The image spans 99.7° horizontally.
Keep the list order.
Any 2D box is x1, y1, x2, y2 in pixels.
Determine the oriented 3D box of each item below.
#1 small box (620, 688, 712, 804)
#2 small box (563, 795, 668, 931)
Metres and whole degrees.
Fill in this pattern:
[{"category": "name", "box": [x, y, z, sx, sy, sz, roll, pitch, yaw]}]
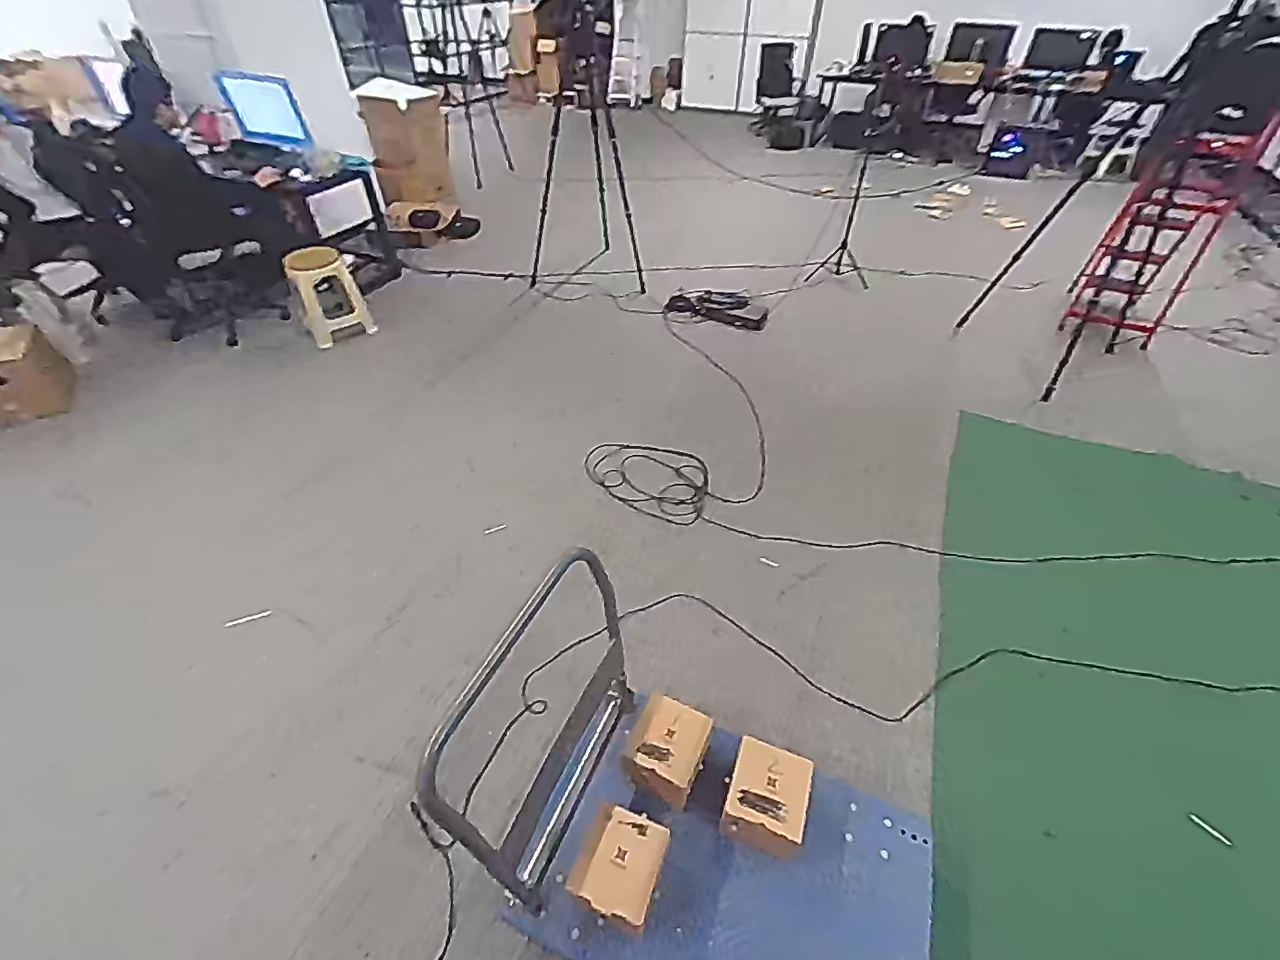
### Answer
[{"category": "small box", "box": [0.064, 0.656, 1.329, 0.168, 0.176, 0.179, 20, 46, 19]}, {"category": "small box", "box": [-0.045, 0.821, 1.155, 0.168, 0.176, 0.179, 16, 47, 15]}]
